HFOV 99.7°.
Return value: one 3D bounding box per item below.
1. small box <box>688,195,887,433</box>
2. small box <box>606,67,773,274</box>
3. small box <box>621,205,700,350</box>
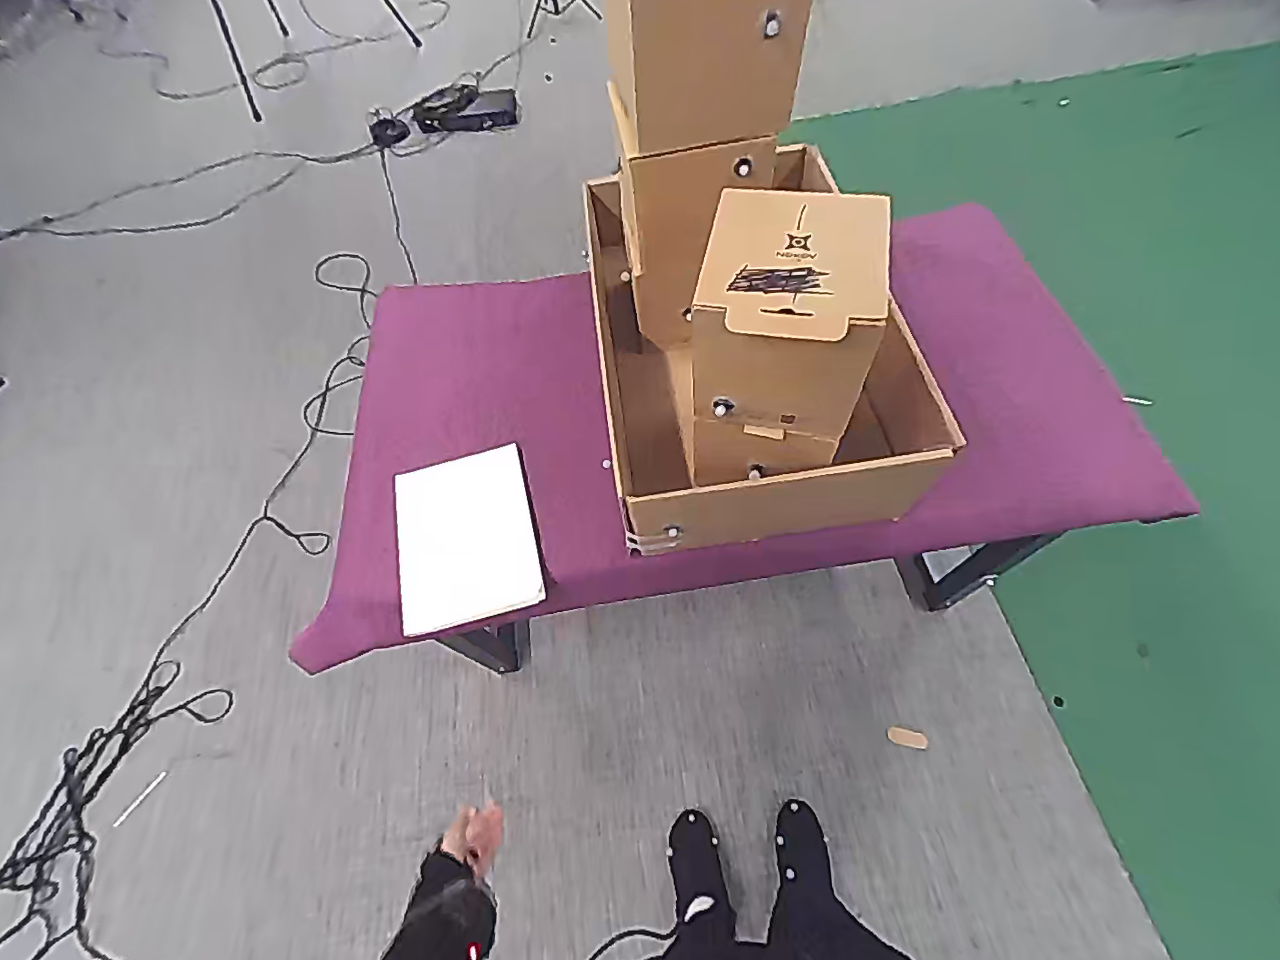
[{"bbox_3d":[0.150,-0.170,0.572,0.168,0.176,0.179,9,61,12],"label":"small box"},{"bbox_3d":[0.061,-0.398,0.714,0.179,0.176,0.168,-10,62,-1],"label":"small box"},{"bbox_3d":[0.068,-0.325,0.858,0.168,0.176,0.179,-8,62,0],"label":"small box"}]
